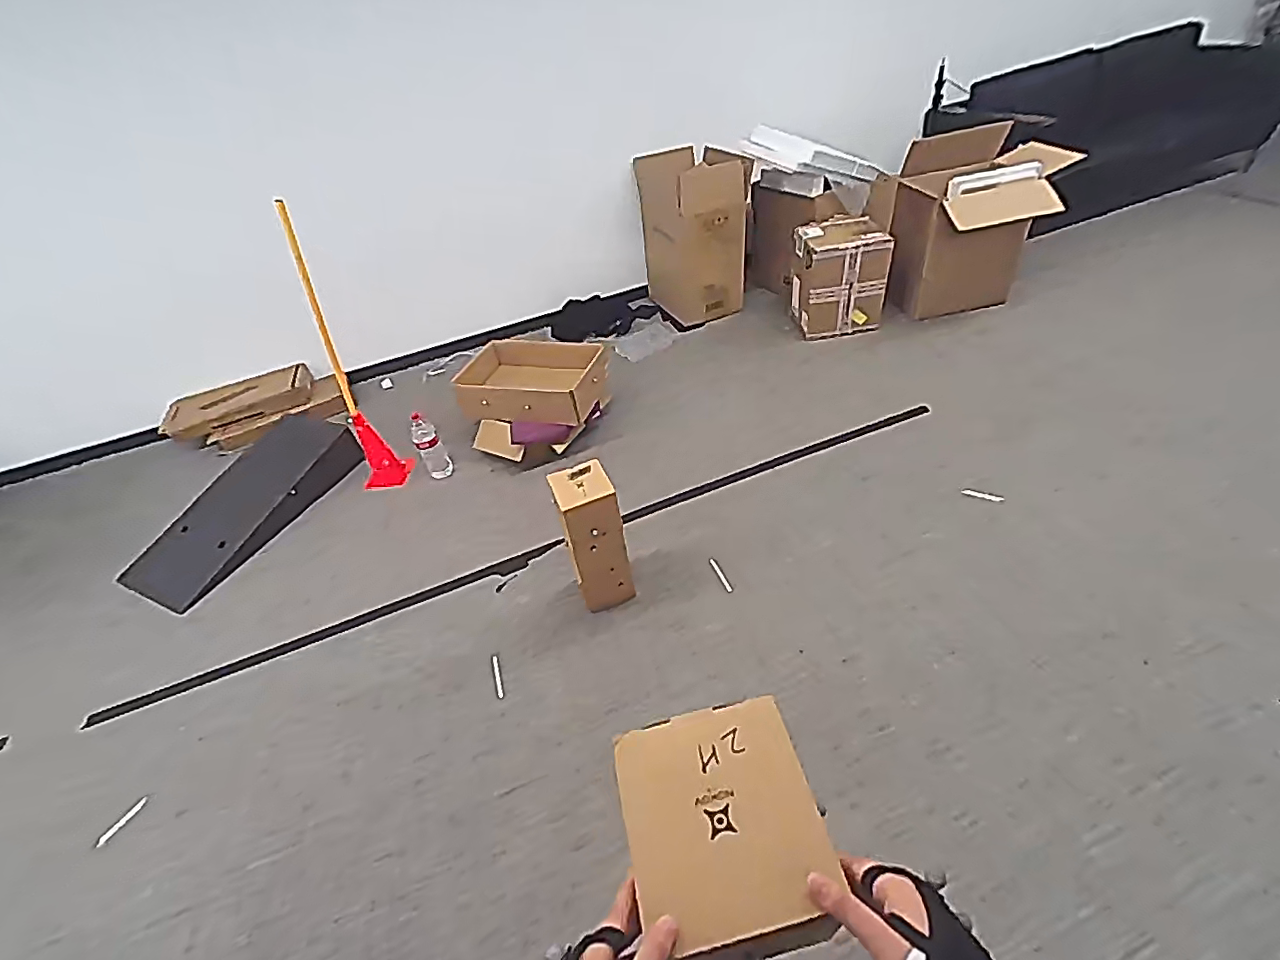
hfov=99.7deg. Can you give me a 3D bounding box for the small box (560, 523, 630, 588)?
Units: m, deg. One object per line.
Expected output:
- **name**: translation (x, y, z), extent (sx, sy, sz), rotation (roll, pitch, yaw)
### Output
- **small box**: translation (-0.145, 0.214, 1.743), extent (0.168, 0.176, 0.179), rotation (-21, 40, -11)

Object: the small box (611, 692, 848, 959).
- **small box**: translation (0.078, 0.343, 0.523), extent (0.168, 0.176, 0.179), rotation (-14, 42, -4)

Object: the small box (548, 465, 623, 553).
- **small box**: translation (-0.164, 0.089, 1.637), extent (0.168, 0.176, 0.179), rotation (-20, 42, -12)

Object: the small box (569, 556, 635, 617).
- **small box**: translation (-0.124, 0.336, 1.850), extent (0.179, 0.176, 0.168), rotation (-20, 41, -9)
